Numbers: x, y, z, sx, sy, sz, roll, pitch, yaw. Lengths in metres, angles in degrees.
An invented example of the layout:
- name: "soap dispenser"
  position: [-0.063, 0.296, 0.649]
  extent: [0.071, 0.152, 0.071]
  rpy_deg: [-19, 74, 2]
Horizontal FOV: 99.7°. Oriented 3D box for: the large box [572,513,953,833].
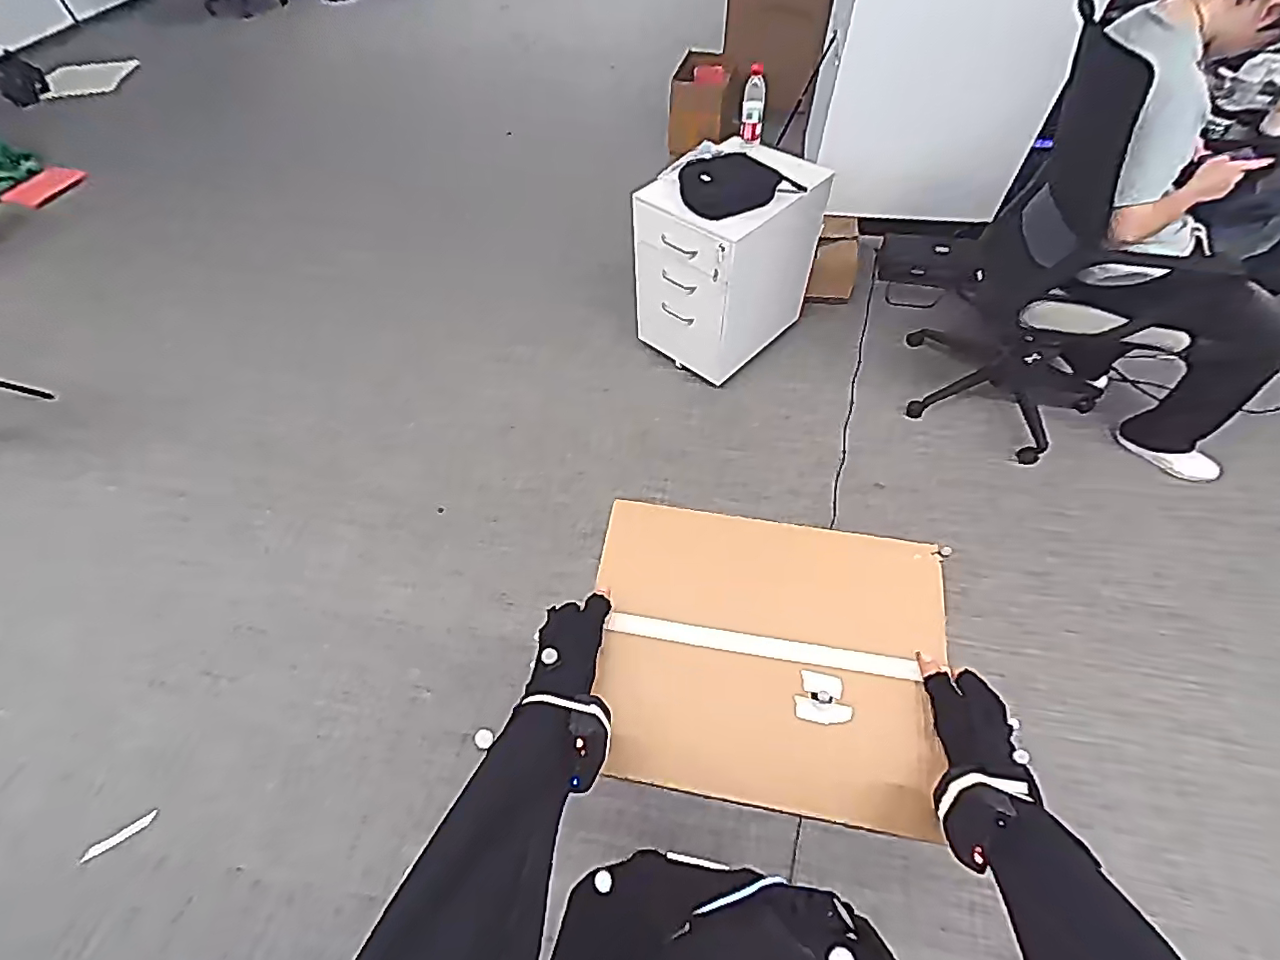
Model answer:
- name: "large box"
  position: [0.146, 0.269, 0.761]
  extent: [0.408, 0.320, 0.320]
  rpy_deg: [8, 63, 6]
